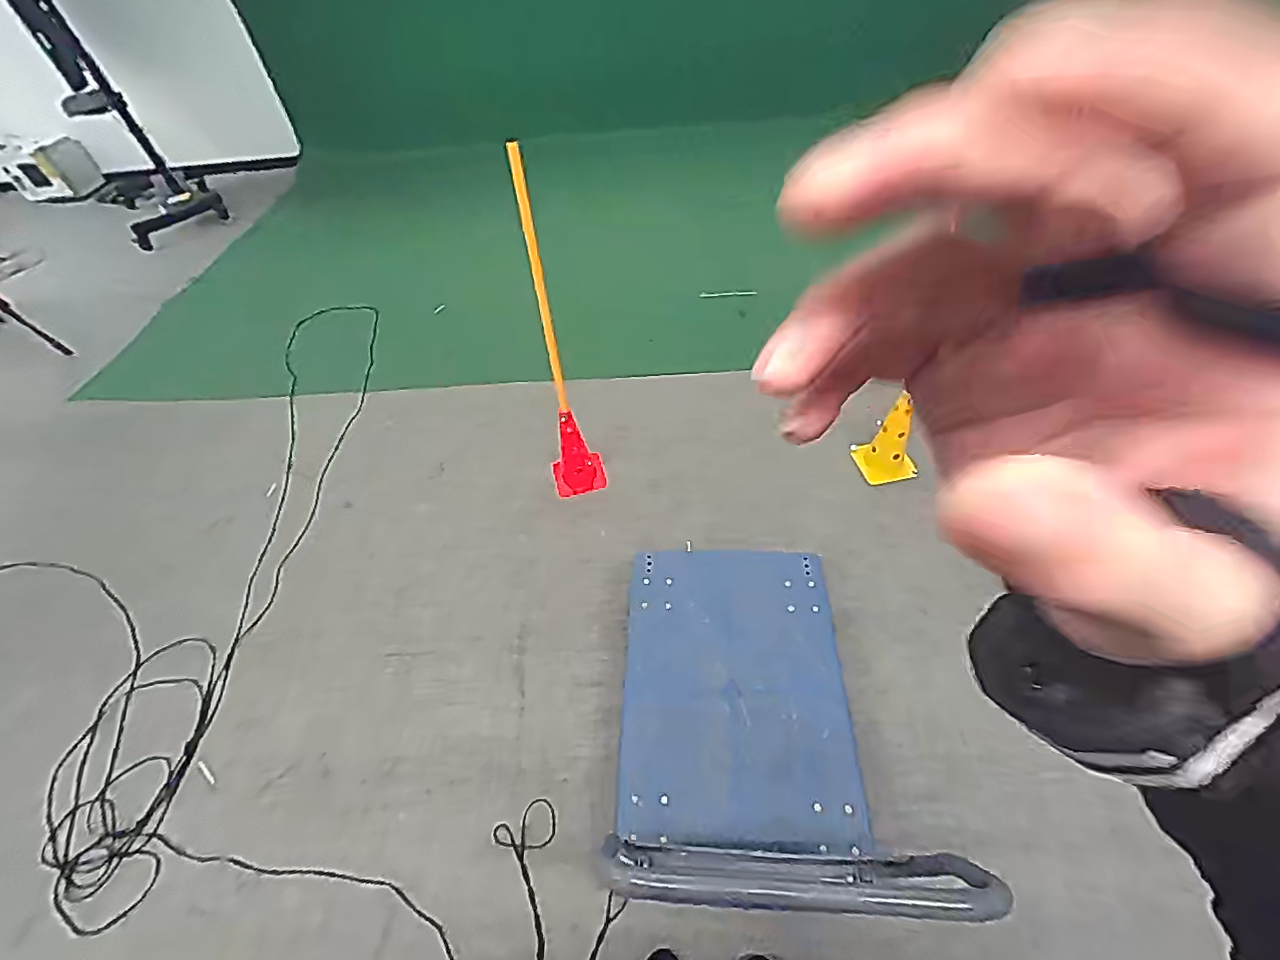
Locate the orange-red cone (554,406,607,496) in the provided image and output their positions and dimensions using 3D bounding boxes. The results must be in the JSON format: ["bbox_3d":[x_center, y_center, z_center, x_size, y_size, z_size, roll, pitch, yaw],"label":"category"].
[{"bbox_3d":[-0.255,-0.135,2.035,0.199,0.360,0.198,-15,50,-5],"label":"orange-red cone"}]
